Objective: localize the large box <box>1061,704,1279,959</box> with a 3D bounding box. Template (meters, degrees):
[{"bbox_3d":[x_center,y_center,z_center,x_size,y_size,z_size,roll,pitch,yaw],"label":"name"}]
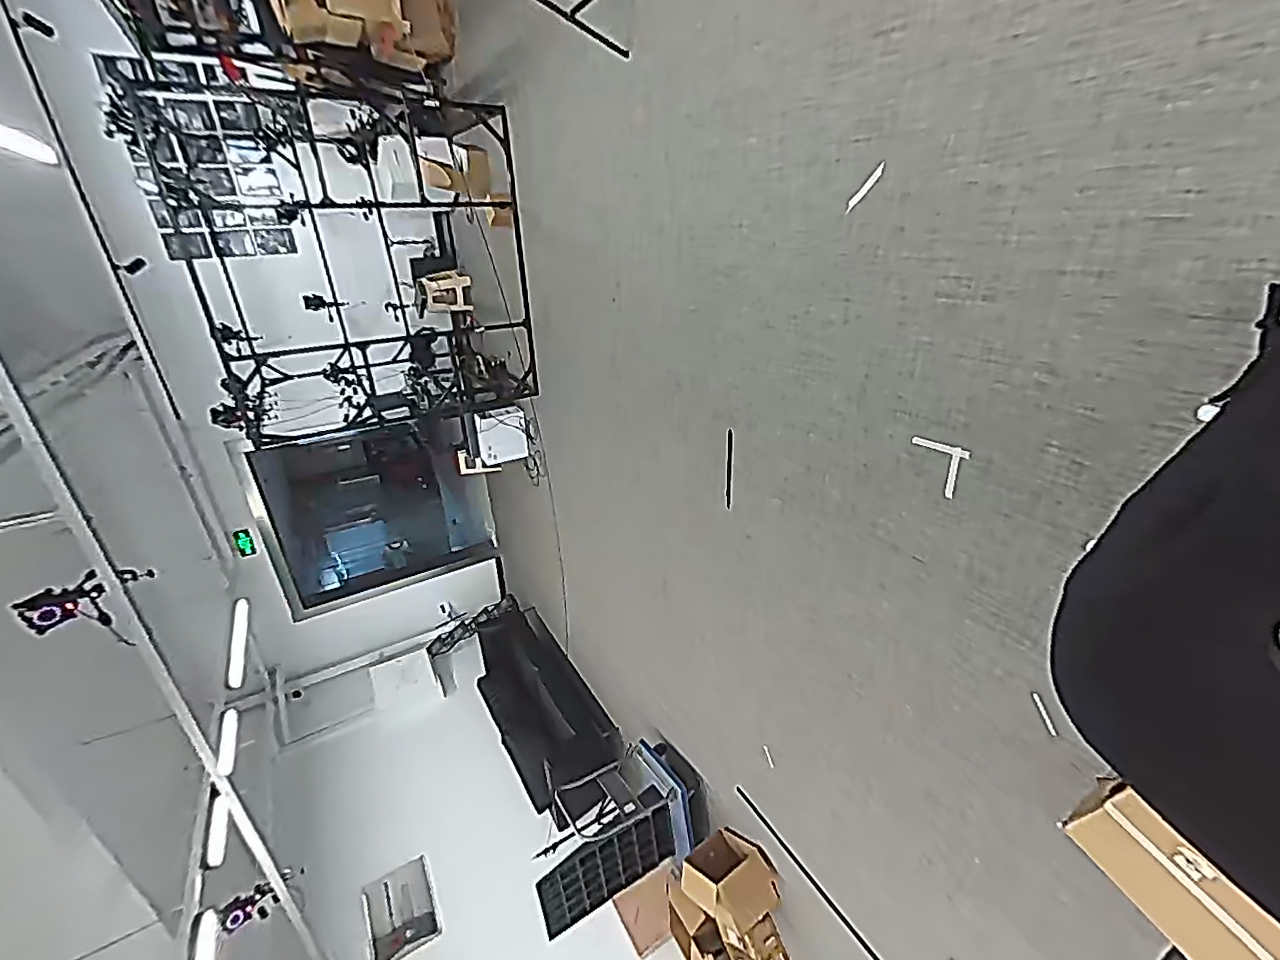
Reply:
[{"bbox_3d":[1.212,0.752,1.090,0.408,0.320,0.320,53,145,39],"label":"large box"}]
